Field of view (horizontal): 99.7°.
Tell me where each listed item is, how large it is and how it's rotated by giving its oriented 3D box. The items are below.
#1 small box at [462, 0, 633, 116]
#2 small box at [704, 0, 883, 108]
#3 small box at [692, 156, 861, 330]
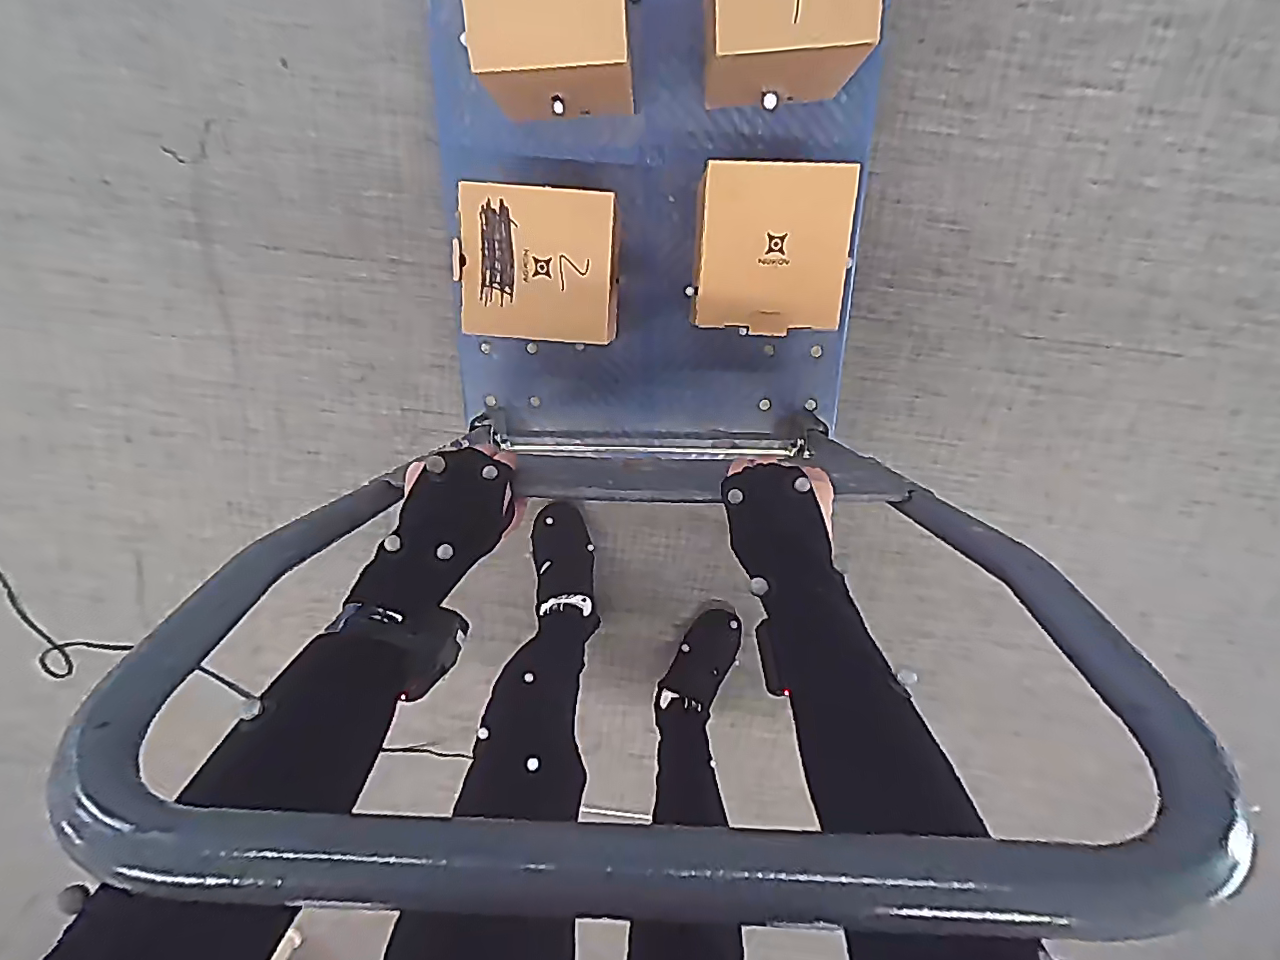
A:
[{"bbox_3d":[-0.095,-0.531,0.607,0.168,0.176,0.179,-2,108,2],"label":"small box"},{"bbox_3d":[0.158,-0.541,0.593,0.168,0.176,0.179,-2,109,4],"label":"small box"},{"bbox_3d":[0.155,-0.285,0.679,0.168,0.176,0.179,2,109,1],"label":"small box"}]
